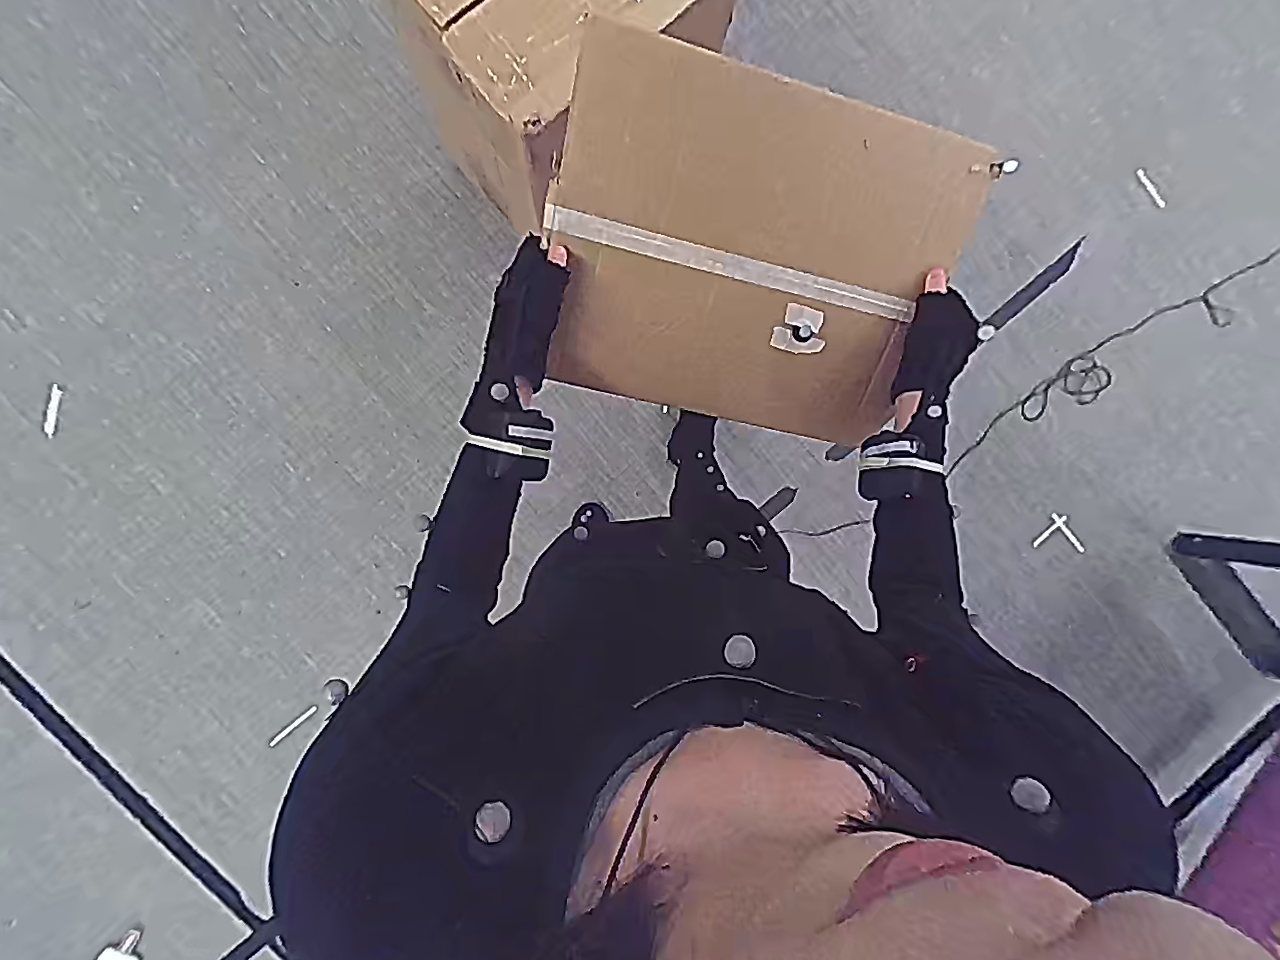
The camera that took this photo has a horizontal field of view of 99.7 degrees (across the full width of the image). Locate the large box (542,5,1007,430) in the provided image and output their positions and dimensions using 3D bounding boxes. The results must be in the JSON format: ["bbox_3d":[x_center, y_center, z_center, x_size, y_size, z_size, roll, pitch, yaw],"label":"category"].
[{"bbox_3d":[0.107,-0.286,0.666,0.408,0.320,0.320,10,115,-10],"label":"large box"}]
